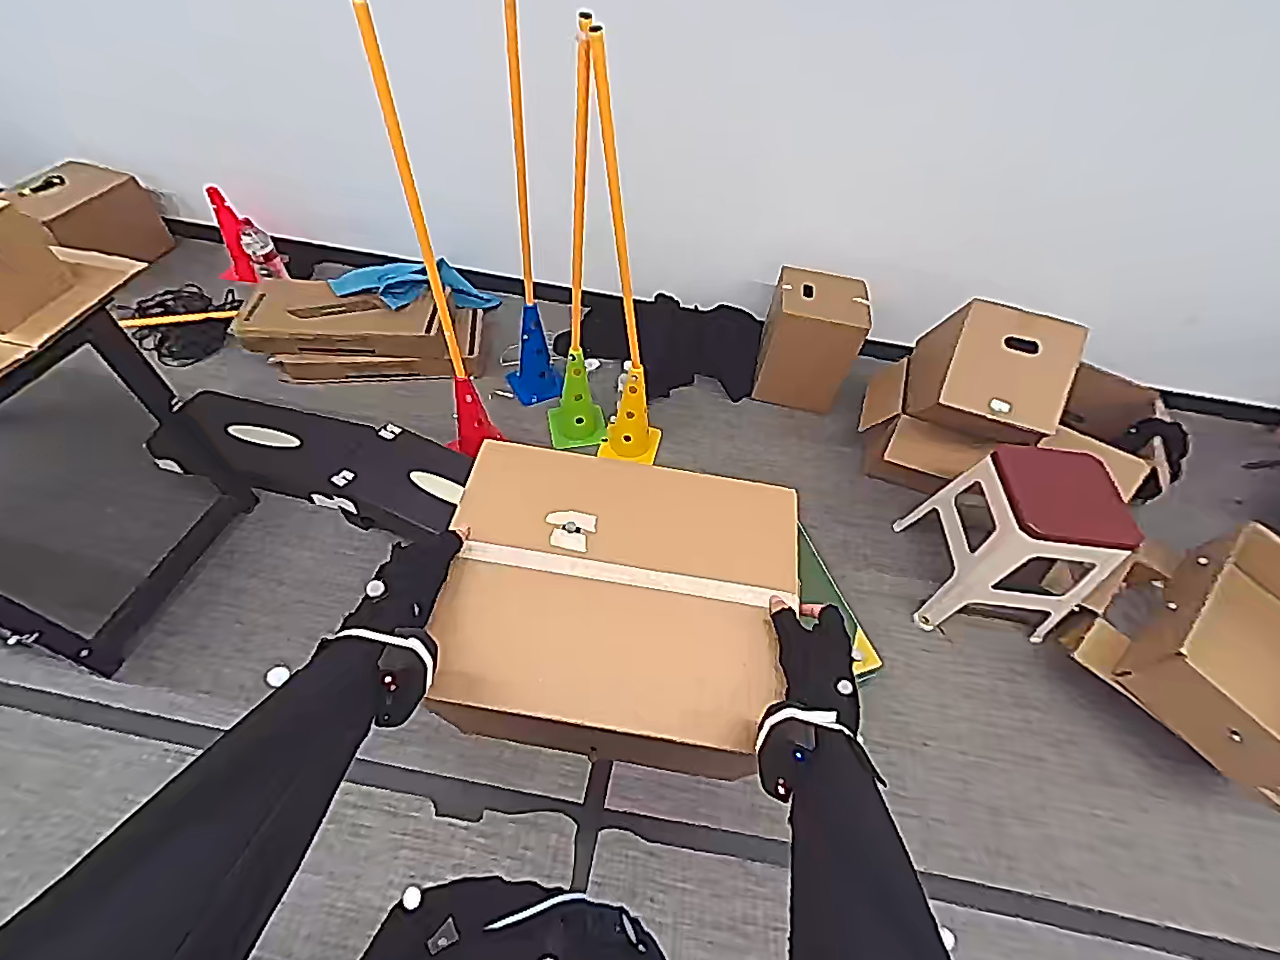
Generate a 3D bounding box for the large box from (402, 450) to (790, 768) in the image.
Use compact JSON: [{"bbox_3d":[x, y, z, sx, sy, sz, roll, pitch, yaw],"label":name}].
[{"bbox_3d":[-0.033,0.193,0.746,0.408,0.320,0.320,9,57,1],"label":"large box"}]
